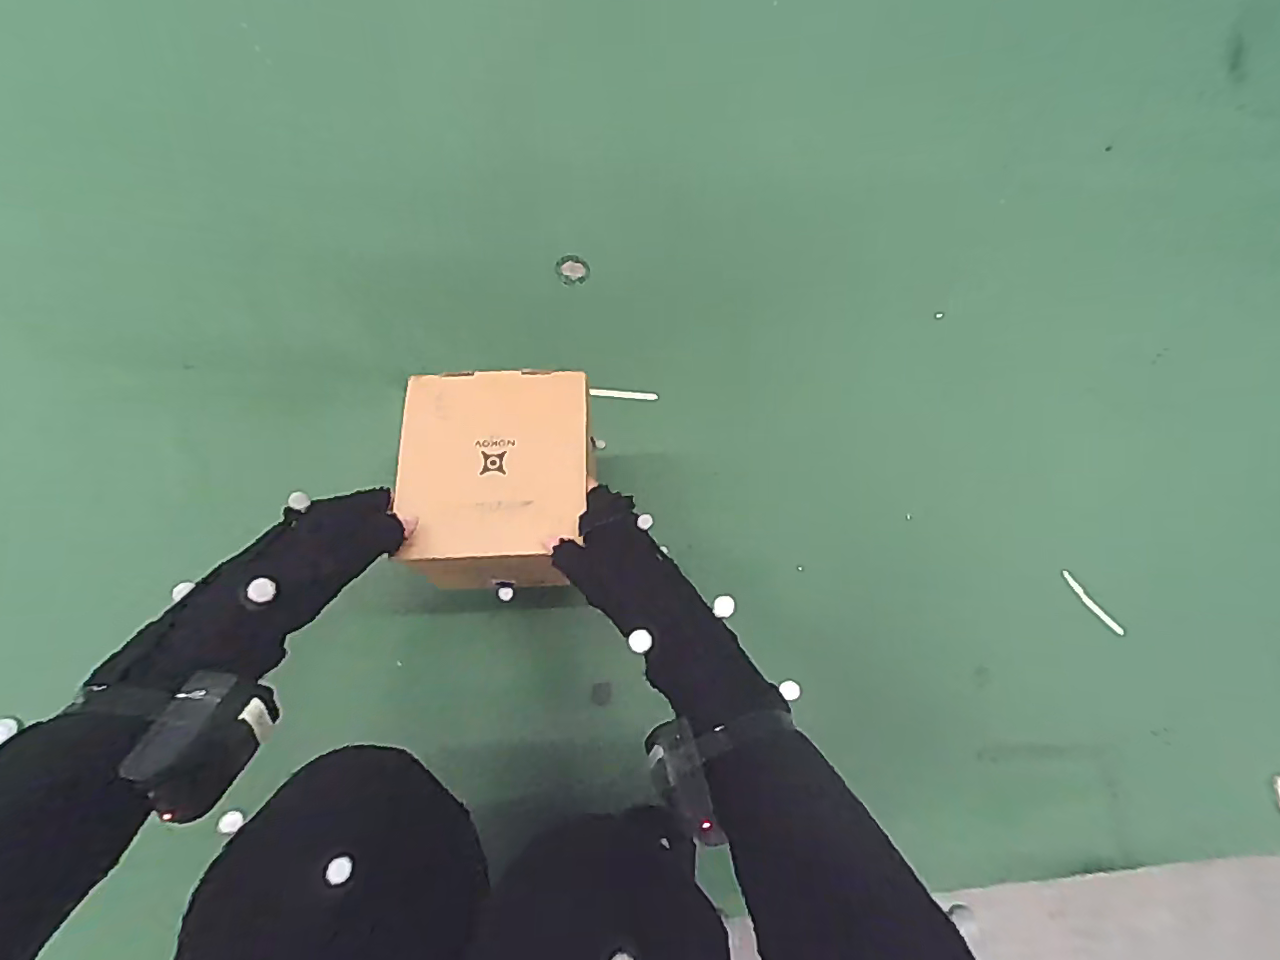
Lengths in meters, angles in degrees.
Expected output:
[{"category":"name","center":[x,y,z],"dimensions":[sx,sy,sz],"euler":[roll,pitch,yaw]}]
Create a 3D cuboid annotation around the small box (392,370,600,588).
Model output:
[{"category":"small box","center":[-0.128,0.007,0.548],"dimensions":[0.168,0.176,0.179],"euler":[-2,71,-2]}]
